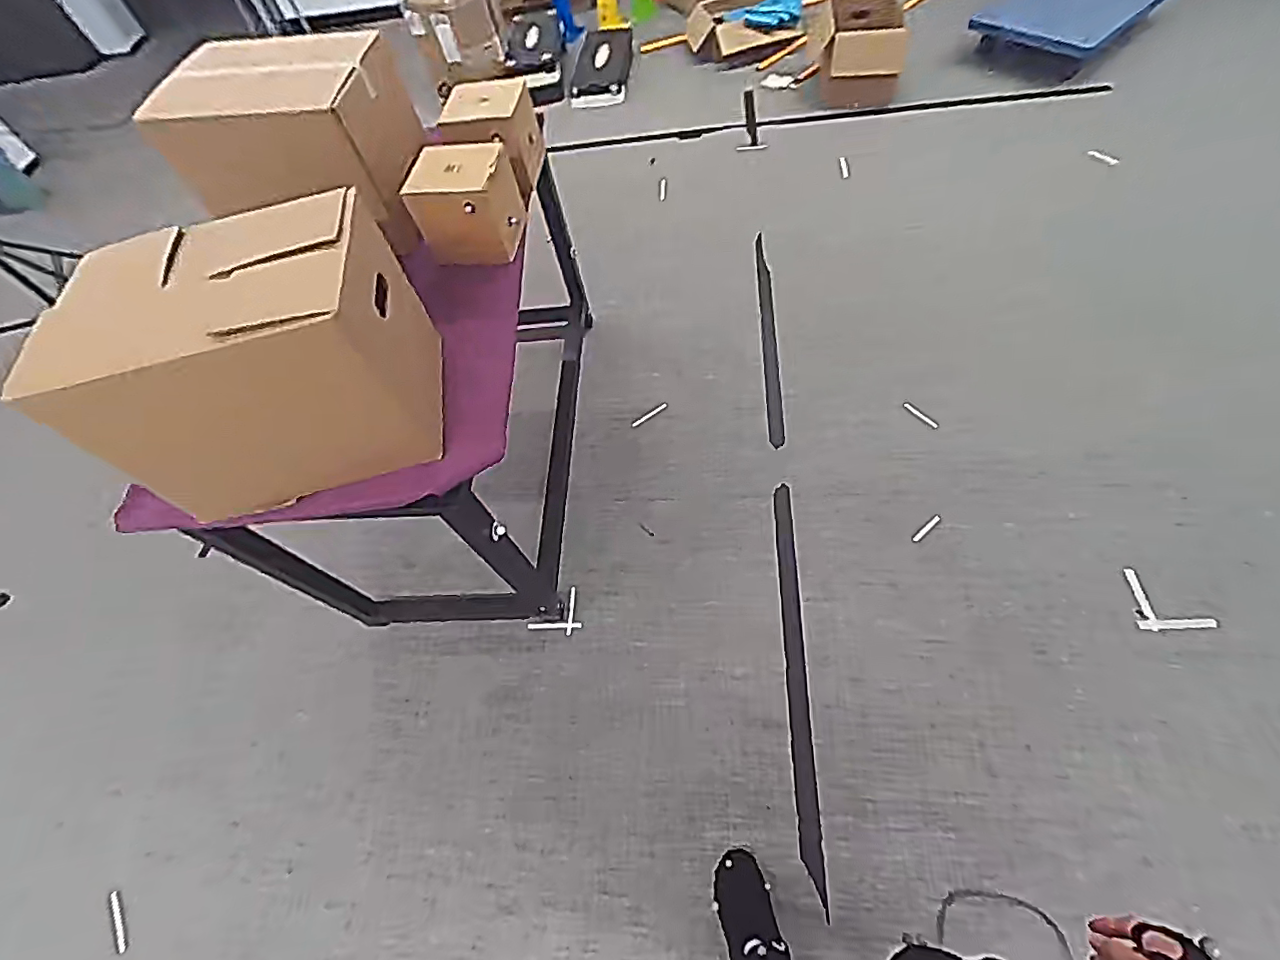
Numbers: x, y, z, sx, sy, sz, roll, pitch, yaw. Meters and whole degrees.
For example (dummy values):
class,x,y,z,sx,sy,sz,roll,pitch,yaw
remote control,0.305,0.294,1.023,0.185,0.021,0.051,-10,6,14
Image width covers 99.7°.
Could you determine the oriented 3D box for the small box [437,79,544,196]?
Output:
class,x,y,z,sx,sy,sz,roll,pitch,yaw
small box,-0.337,-0.793,1.262,0.179,0.176,0.168,0,59,10
